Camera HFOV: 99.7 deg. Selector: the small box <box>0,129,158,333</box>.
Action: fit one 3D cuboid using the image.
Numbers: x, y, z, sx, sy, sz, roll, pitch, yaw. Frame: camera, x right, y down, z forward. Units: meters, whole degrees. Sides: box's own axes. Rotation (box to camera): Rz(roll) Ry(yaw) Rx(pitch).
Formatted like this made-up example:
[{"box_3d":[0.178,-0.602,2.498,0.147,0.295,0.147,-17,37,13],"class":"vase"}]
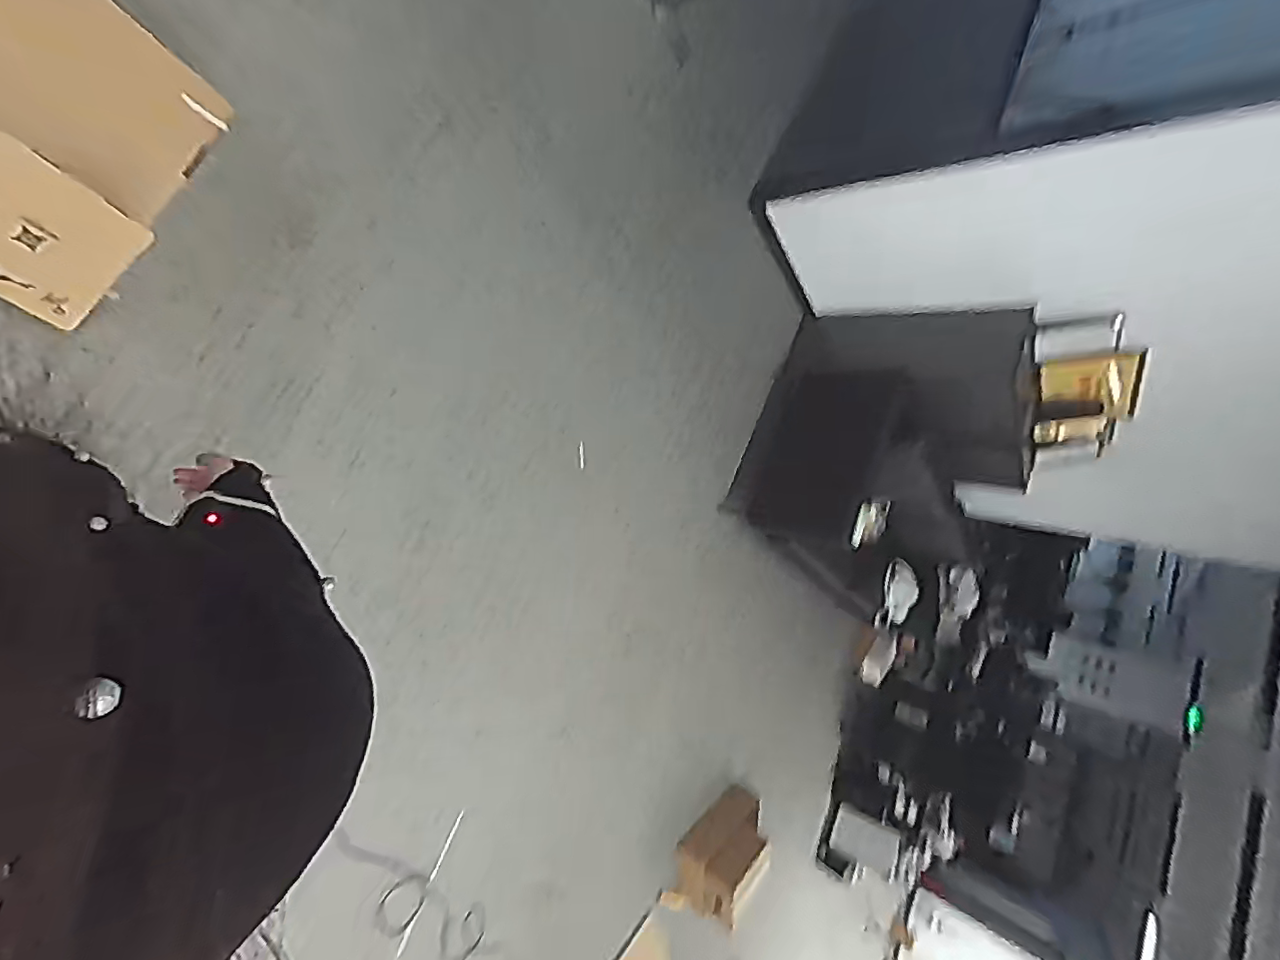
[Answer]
[{"box_3d":[-0.808,-0.317,0.721,0.168,0.176,0.179,44,66,-45],"class":"small box"}]
